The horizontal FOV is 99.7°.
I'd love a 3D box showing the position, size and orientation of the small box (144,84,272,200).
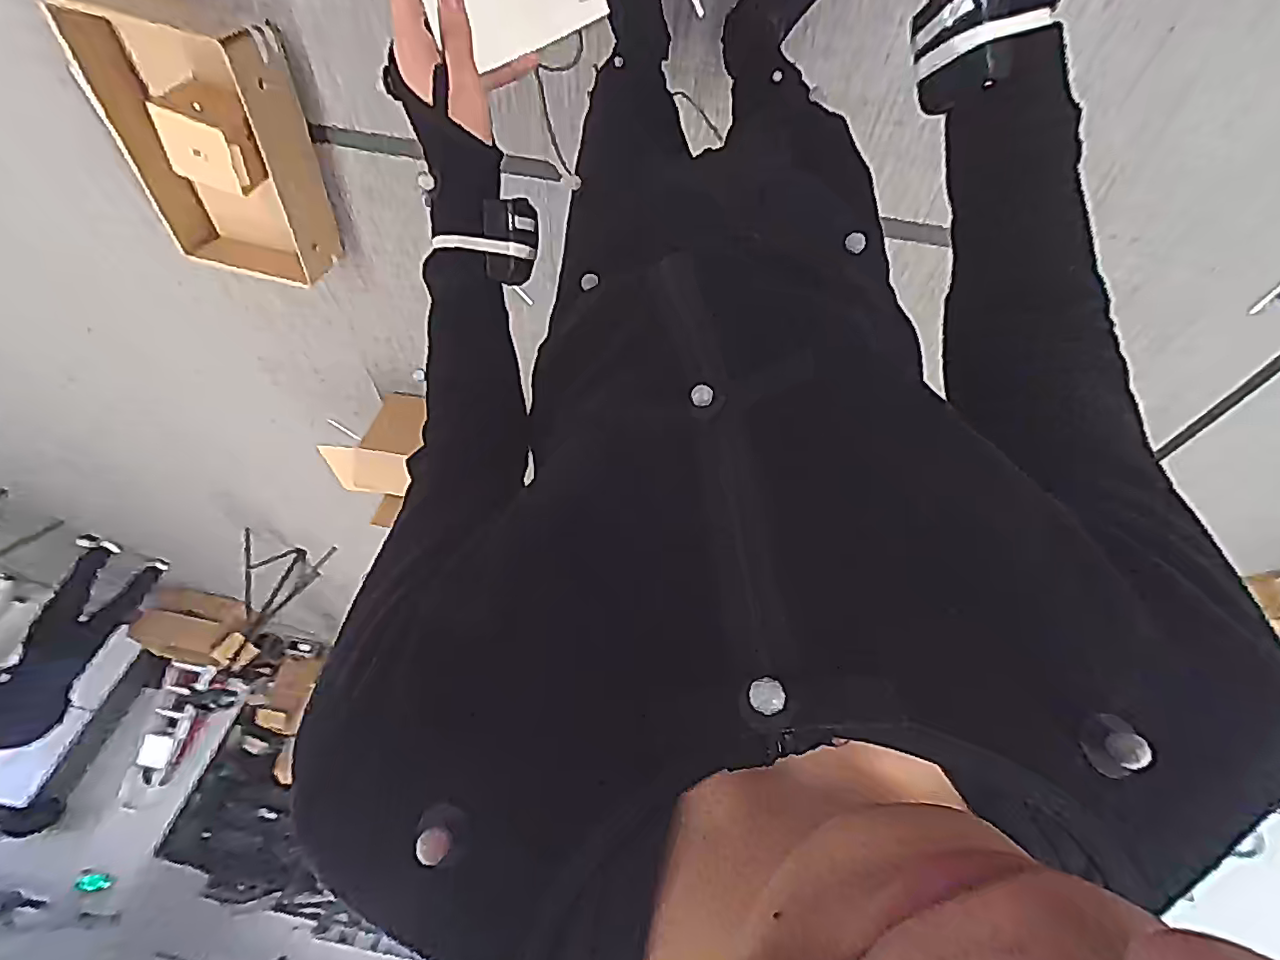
[{"bbox_3d":[-1.058,-0.847,1.350,0.179,0.176,0.168,18,143,-9],"label":"small box"}]
